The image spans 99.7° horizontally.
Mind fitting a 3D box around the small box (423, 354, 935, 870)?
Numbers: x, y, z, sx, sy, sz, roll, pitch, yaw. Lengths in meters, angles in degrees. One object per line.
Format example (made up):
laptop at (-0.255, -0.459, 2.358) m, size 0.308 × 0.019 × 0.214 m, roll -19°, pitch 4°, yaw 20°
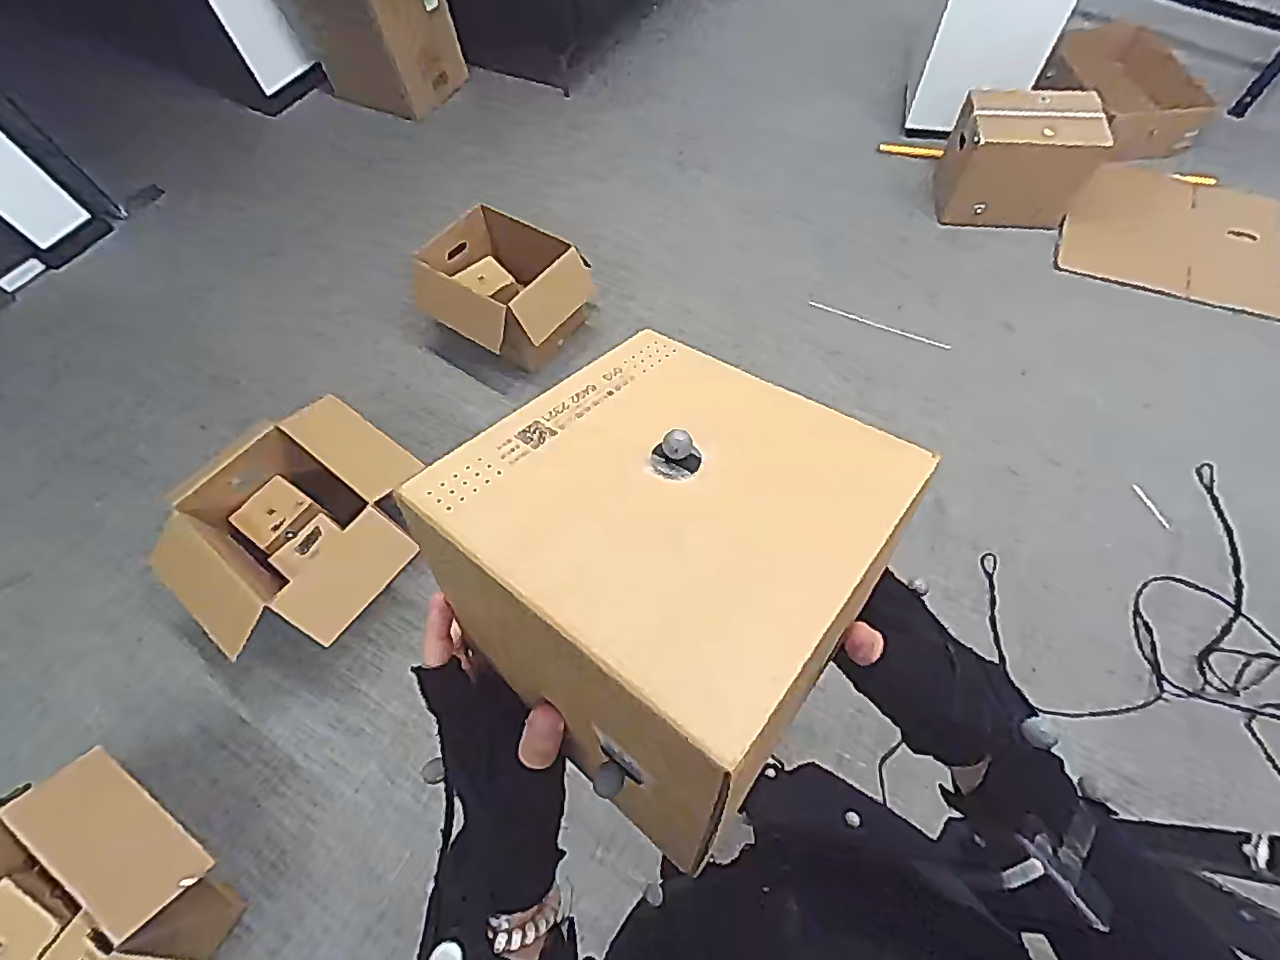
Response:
small box at (0.016, 0.052, 0.287) m, size 0.176 × 0.179 × 0.168 m, roll 31°, pitch 53°, yaw 27°
